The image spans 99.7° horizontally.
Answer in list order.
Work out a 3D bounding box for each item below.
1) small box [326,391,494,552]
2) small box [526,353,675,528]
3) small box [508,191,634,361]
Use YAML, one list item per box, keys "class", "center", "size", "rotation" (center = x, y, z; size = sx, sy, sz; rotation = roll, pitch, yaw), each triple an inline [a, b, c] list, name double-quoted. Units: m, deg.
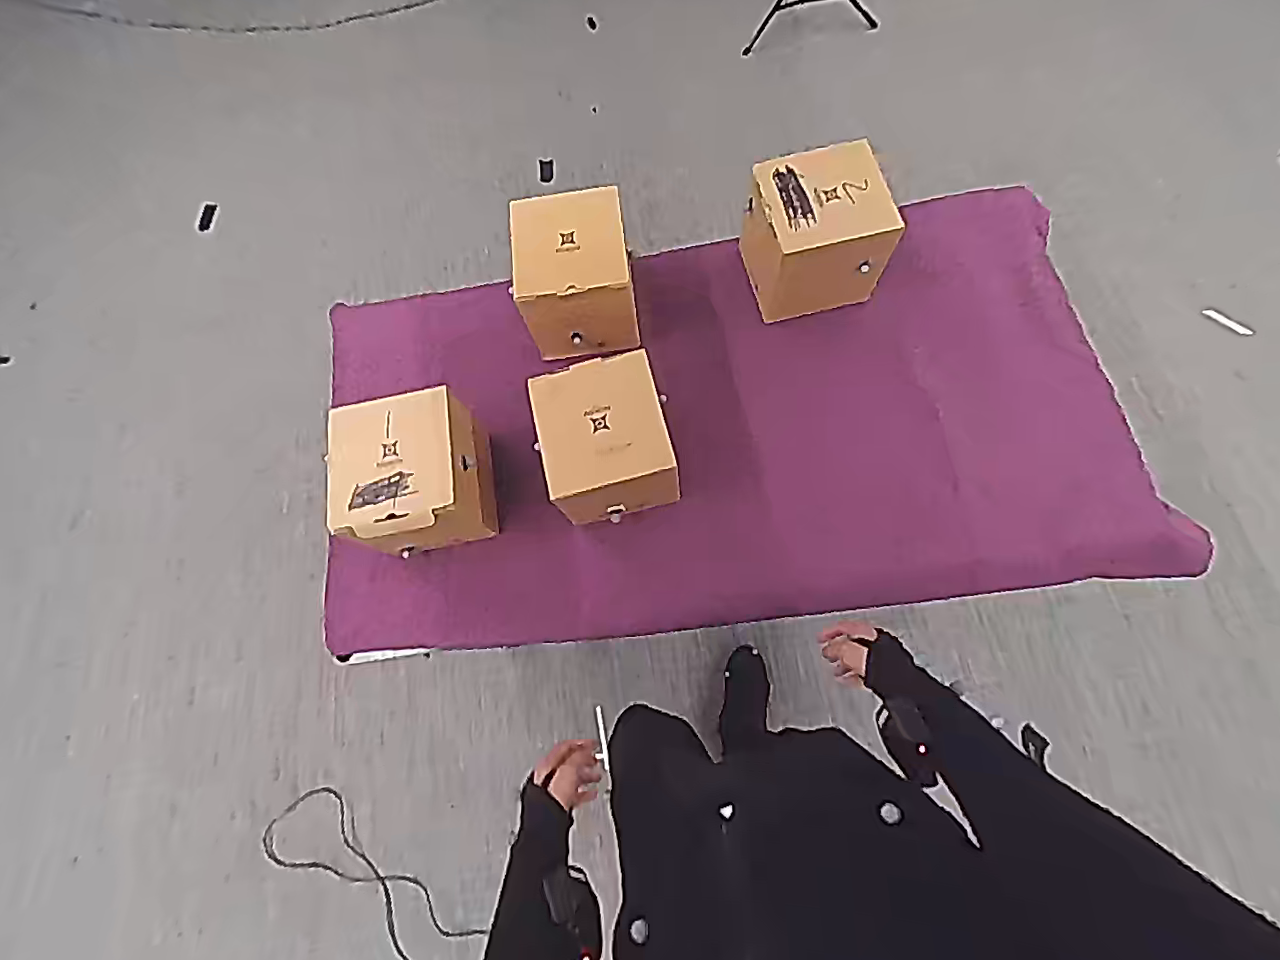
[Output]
- class: "small box"
  center: [-0.320, 0.000, 0.777]
  size: [0.168, 0.176, 0.179]
  rotation: [-12, 71, 1]
- class: "small box"
  center: [-0.050, -0.048, 0.771]
  size: [0.168, 0.176, 0.179]
  rotation: [-15, 72, 1]
- class: "small box"
  center: [-0.103, -0.313, 0.853]
  size: [0.168, 0.176, 0.179]
  rotation: [-8, 73, 2]
